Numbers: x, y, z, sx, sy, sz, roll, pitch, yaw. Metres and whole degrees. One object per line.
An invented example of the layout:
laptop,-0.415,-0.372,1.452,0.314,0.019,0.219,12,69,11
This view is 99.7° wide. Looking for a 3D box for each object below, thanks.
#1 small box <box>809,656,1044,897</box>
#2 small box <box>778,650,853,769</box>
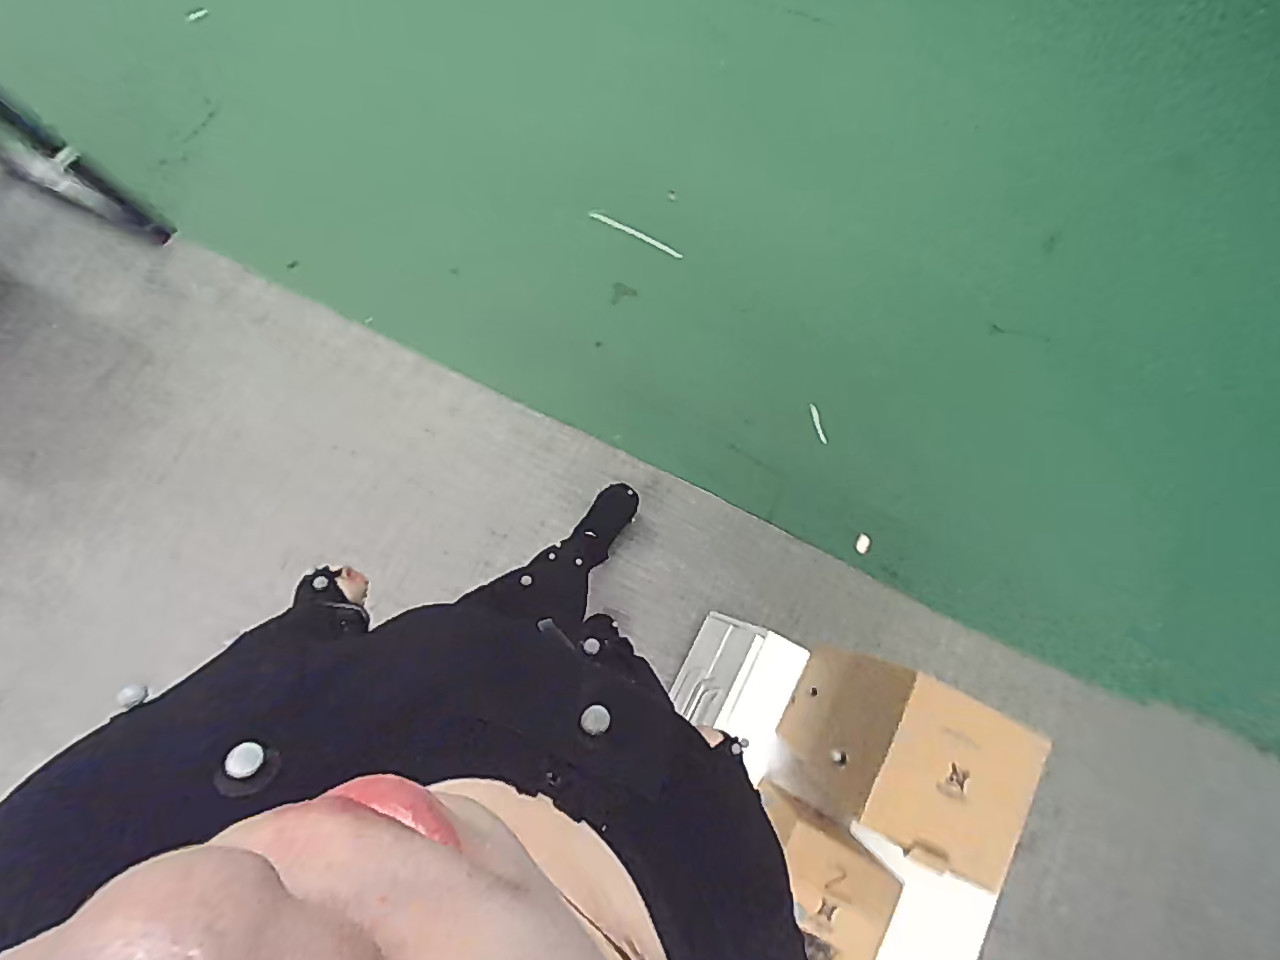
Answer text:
small box,0.331,0.341,0.662,0.168,0.176,0.179,28,79,1
small box,0.335,0.375,0.821,0.179,0.176,0.168,29,81,2
